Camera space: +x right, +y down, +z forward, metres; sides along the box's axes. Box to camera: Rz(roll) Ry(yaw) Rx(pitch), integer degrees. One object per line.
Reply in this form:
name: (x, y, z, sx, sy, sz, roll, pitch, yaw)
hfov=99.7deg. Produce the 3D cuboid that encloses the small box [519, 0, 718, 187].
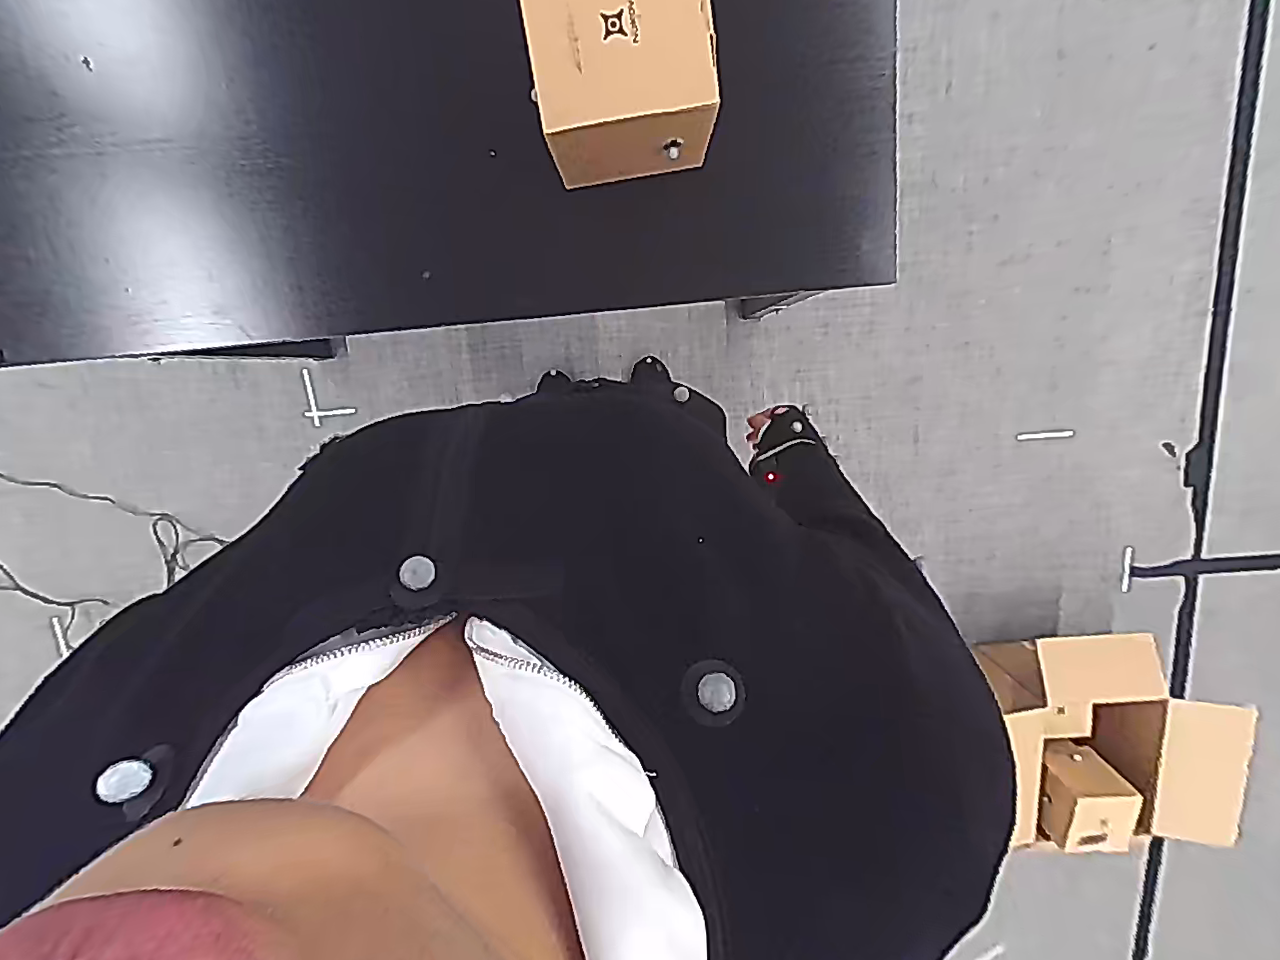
small box: (-0.022, -0.444, 0.587, 0.179, 0.176, 0.168, -9, 101, 3)
